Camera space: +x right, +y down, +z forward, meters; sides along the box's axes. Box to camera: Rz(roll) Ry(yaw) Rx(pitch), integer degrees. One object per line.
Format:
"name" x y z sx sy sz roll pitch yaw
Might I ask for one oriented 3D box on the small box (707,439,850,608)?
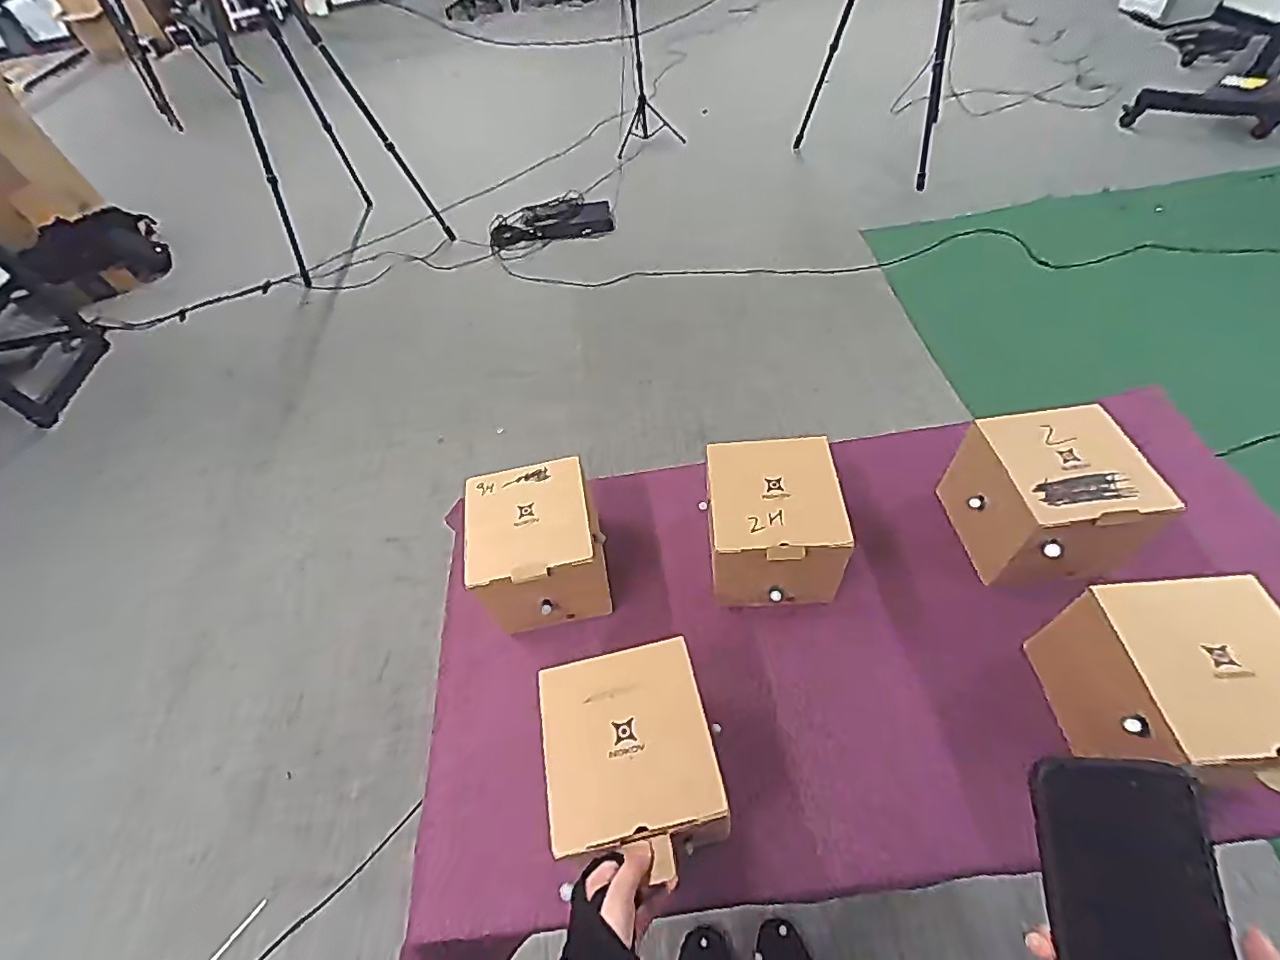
"small box" 0.180 0.064 0.763 0.168 0.176 0.179 -4 53 6

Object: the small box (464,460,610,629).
"small box" -0.143 0.102 0.783 0.168 0.176 0.179 -12 53 -1

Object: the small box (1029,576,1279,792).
"small box" 0.570 0.223 0.583 0.168 0.176 0.179 -5 53 5

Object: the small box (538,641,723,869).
"small box" -0.007 0.309 0.599 0.168 0.176 0.179 -13 49 -2
